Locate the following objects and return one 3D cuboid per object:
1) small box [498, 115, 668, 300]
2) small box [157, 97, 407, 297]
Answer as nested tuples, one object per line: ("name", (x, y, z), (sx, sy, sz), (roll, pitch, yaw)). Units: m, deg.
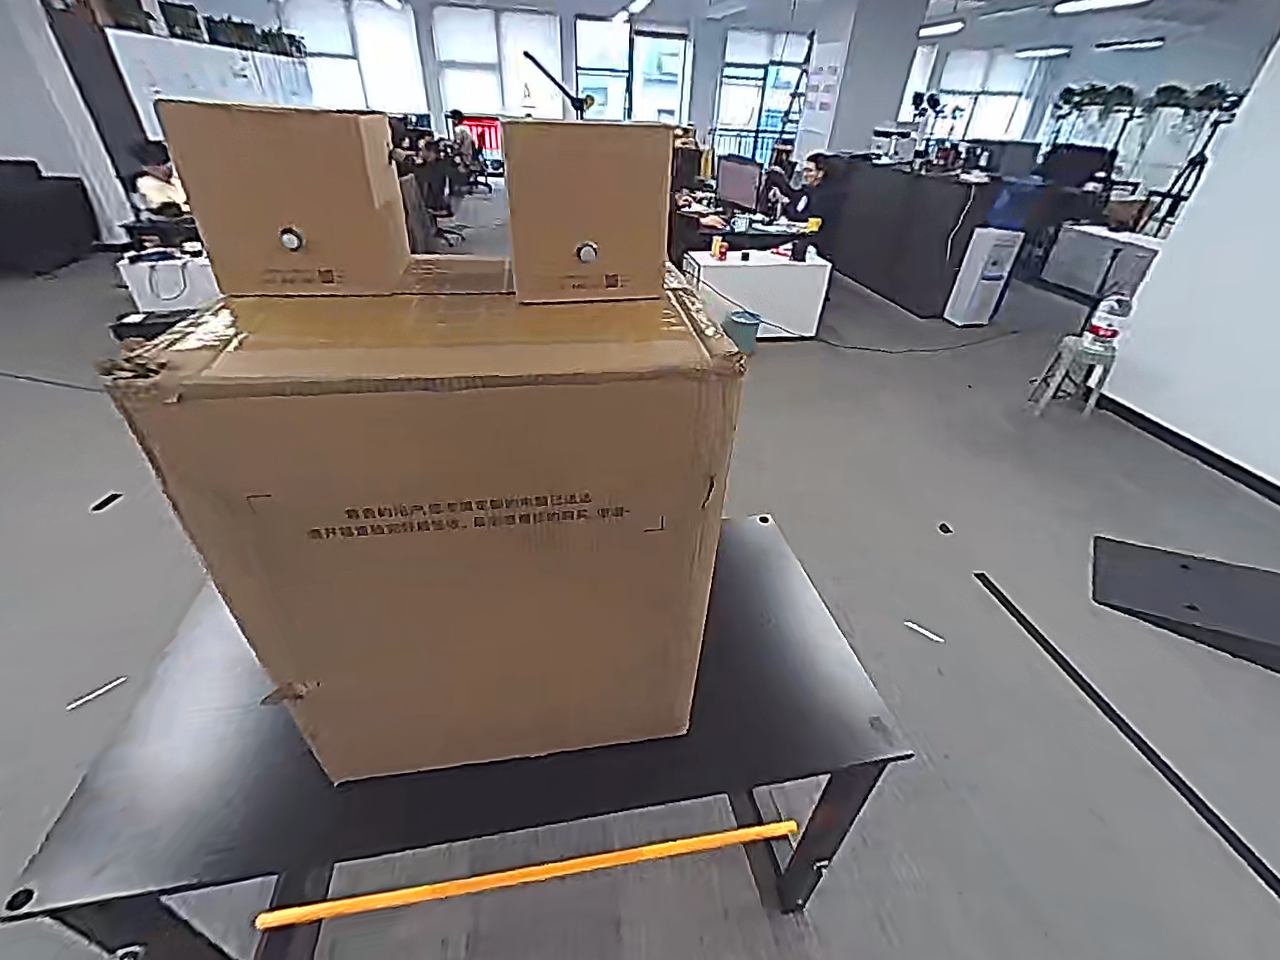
("small box", (-0.072, -0.314, 0.622), (0.168, 0.176, 0.179), (-7, 35, -11))
("small box", (-0.365, -0.310, 0.597), (0.168, 0.176, 0.179), (-5, 34, -12))
